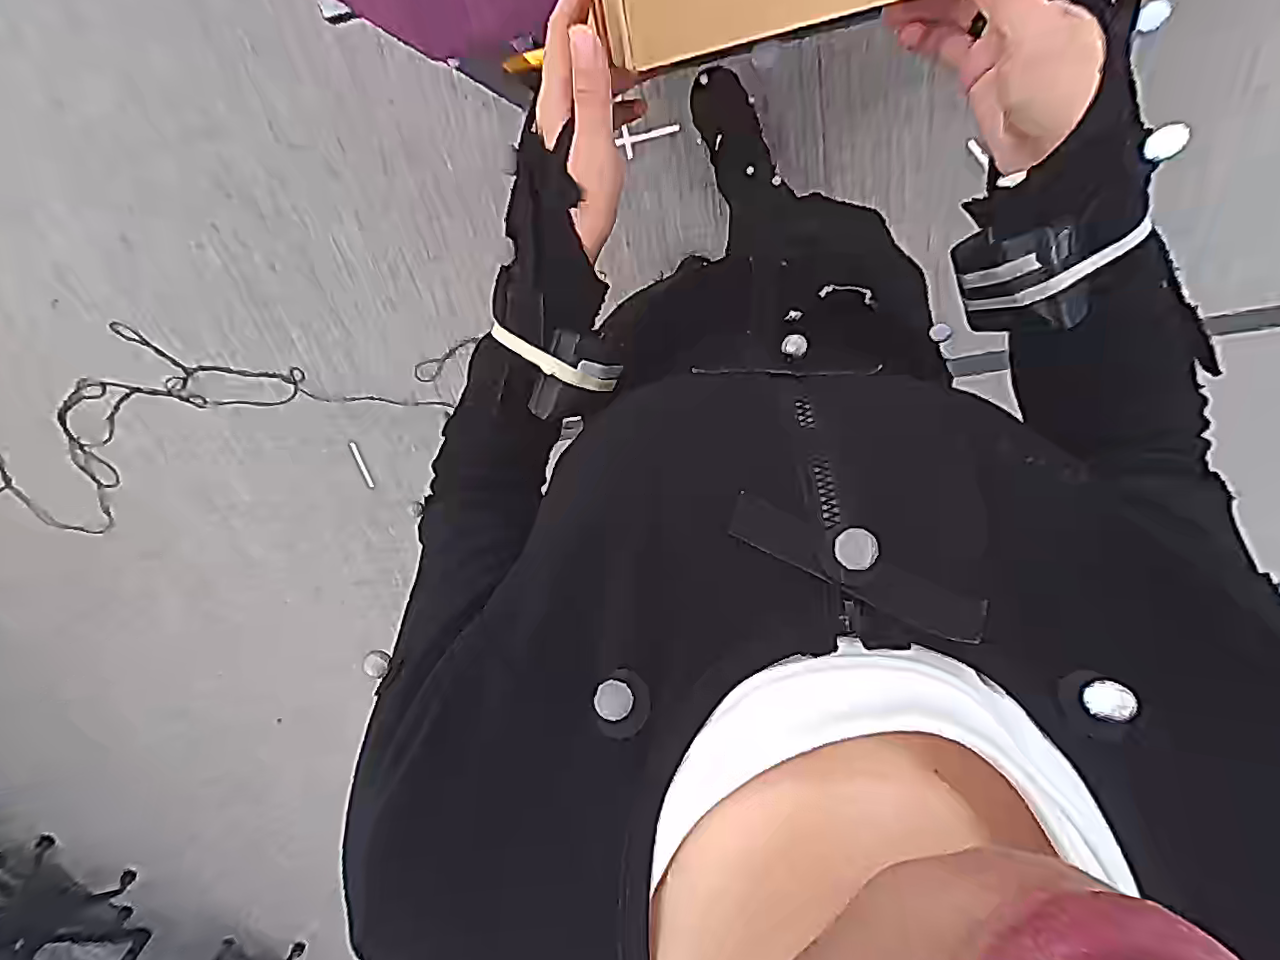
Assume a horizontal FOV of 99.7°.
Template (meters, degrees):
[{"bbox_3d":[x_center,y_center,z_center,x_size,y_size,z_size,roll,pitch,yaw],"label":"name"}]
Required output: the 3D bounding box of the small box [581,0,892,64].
[{"bbox_3d":[0.051,-0.326,0.260,0.179,0.176,0.168,-15,131,0],"label":"small box"}]
